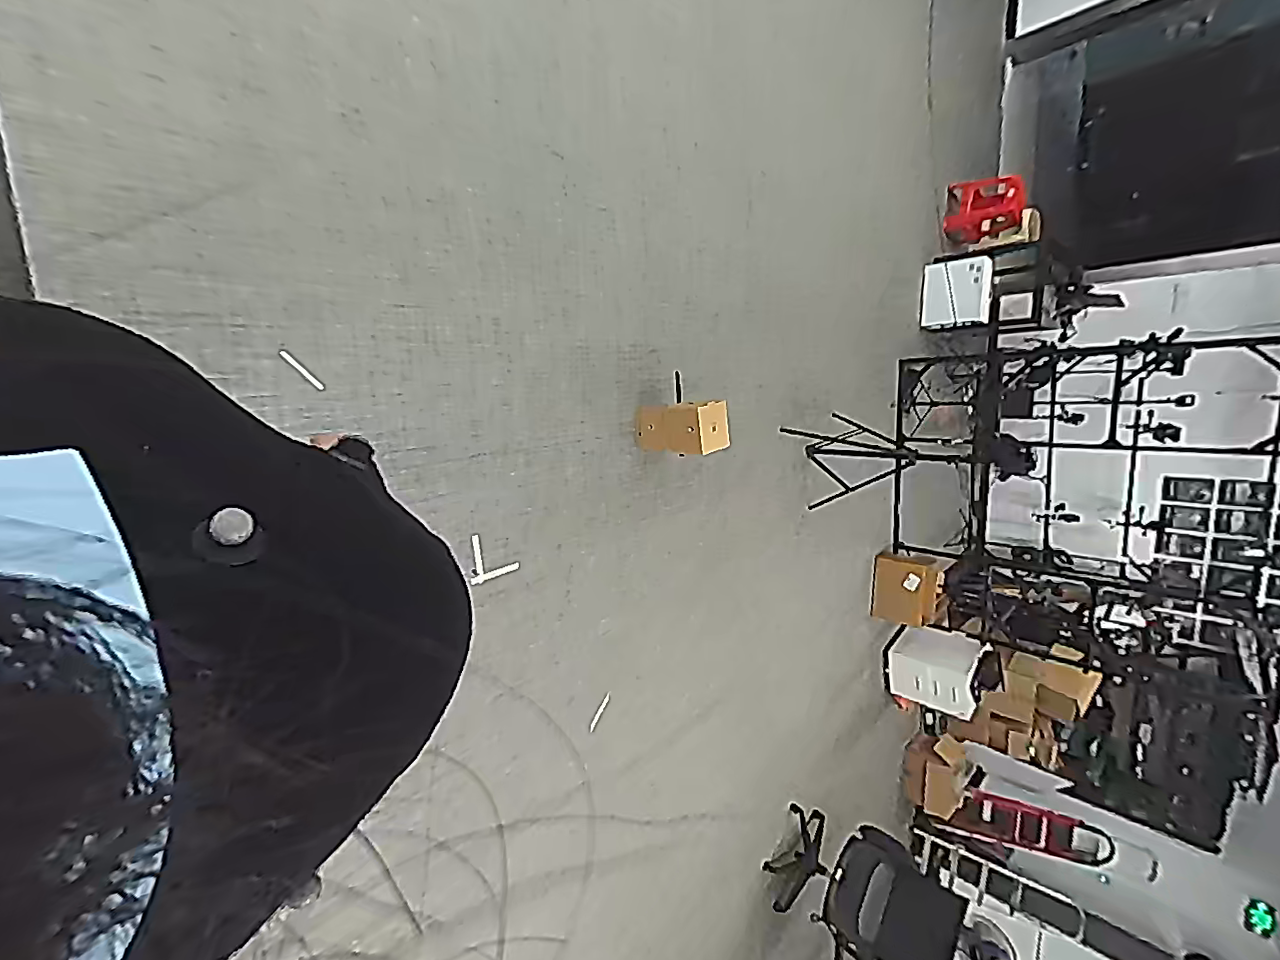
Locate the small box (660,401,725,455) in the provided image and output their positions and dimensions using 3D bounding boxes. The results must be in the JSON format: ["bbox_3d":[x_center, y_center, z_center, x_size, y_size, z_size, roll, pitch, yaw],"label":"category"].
[{"bbox_3d":[0.194,-0.198,2.010,0.168,0.176,0.179,-20,108,-42],"label":"small box"}]

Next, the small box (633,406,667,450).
[{"bbox_3d":[0.087,-0.208,2.132,0.179,0.176,0.168,-9,102,-45],"label":"small box"}]
